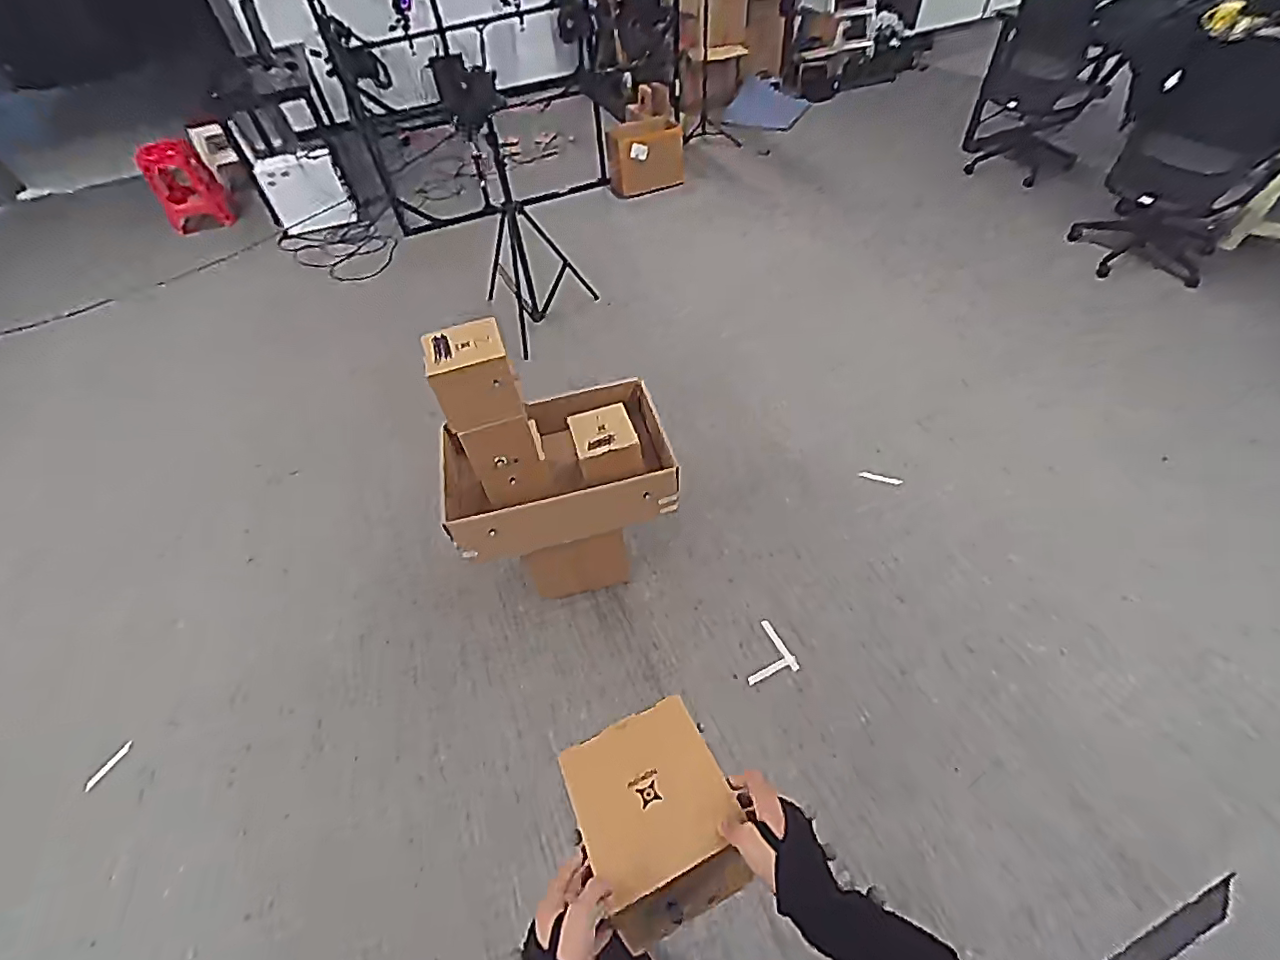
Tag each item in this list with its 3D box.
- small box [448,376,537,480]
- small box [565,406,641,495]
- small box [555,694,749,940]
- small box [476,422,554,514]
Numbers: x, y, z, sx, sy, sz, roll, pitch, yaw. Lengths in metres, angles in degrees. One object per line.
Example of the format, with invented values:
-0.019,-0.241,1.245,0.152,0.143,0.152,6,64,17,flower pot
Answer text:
-0.374,-0.132,1.382,0.168,0.176,0.179,-19,50,-9,small box
-0.101,-0.076,1.523,0.168,0.176,0.179,-16,50,-8,small box
0.018,0.402,0.644,0.168,0.176,0.179,-22,39,-13,small box
-0.352,-0.029,1.507,0.179,0.176,0.168,-16,51,-9,small box
